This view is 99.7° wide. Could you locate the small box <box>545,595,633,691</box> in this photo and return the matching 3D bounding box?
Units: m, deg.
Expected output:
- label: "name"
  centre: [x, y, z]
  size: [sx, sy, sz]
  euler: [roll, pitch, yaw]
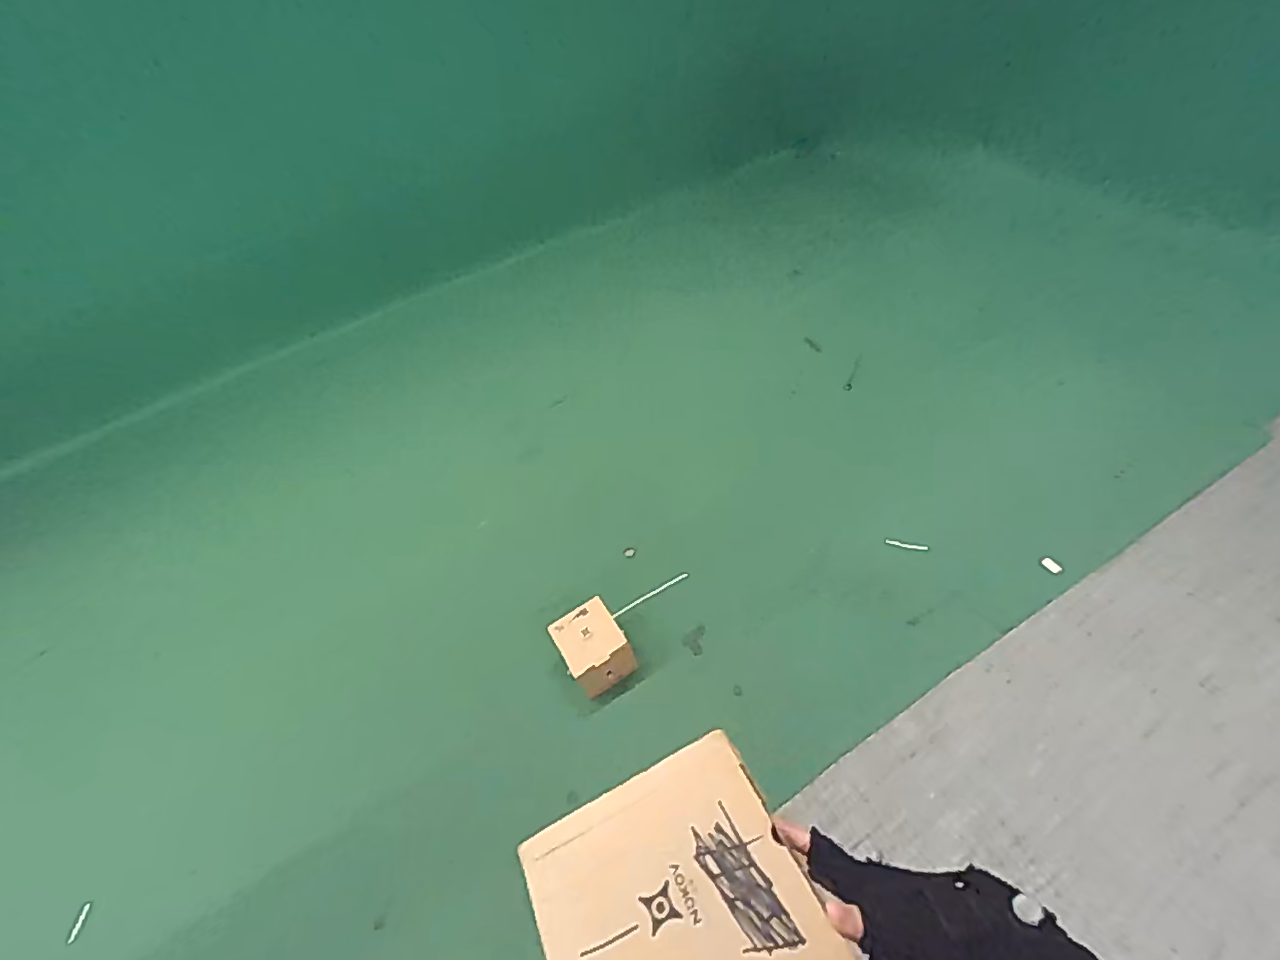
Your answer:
- label: "small box"
  centre: [-0.137, 0.461, 1.504]
  size: [0.168, 0.176, 0.179]
  euler: [-29, 52, -13]
